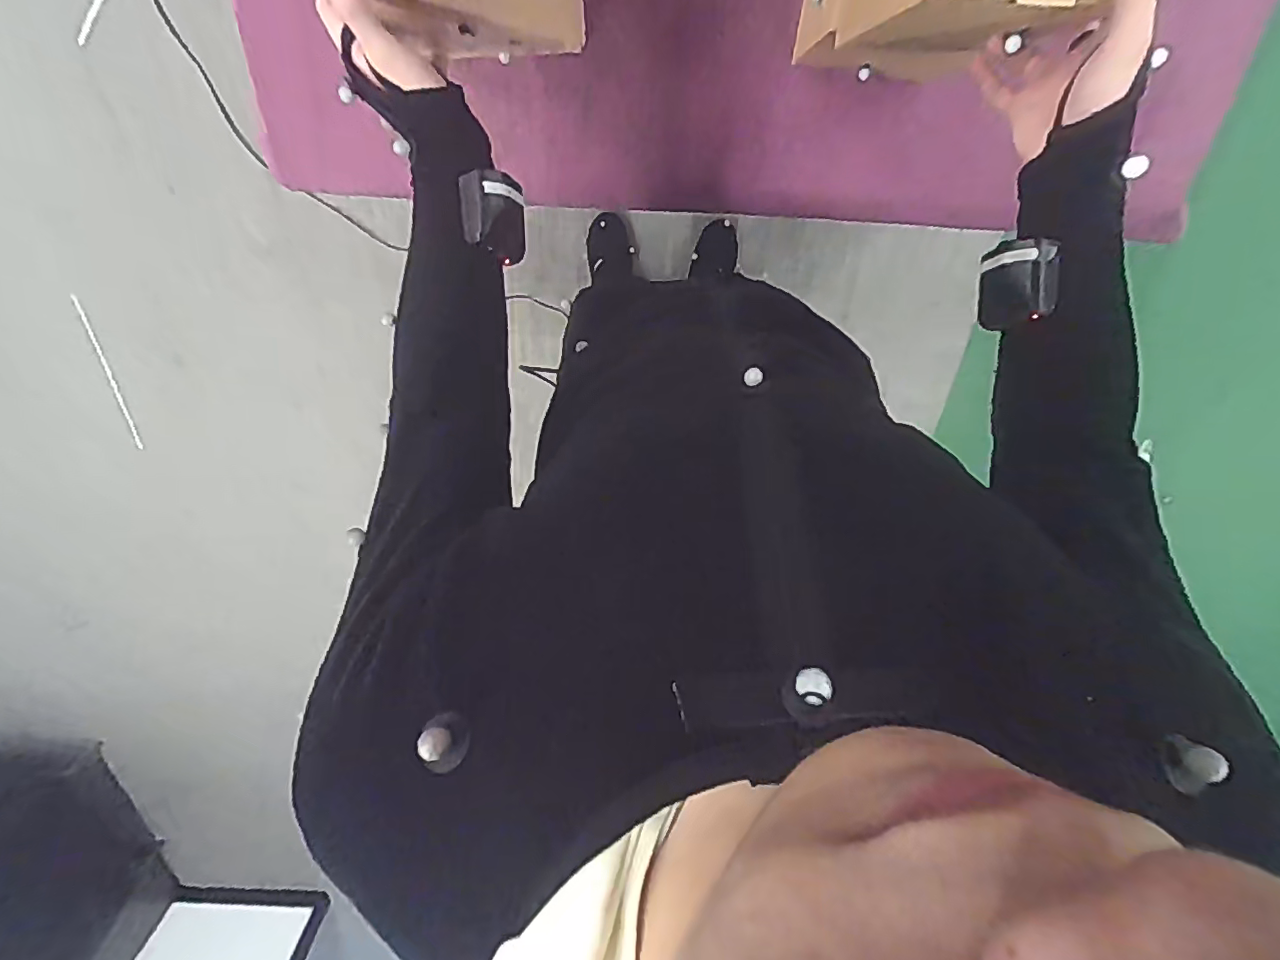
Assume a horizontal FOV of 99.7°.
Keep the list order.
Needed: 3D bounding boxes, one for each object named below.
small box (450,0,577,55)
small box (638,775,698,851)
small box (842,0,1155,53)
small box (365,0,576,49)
[{"bbox_3d":[-0.157,-0.552,0.538,0.168,0.176,0.179,-1,119,2],"label":"small box"},{"bbox_3d":[0.094,1.170,1.906,0.179,0.176,0.168,9,119,-5],"label":"small box"},{"bbox_3d":[0.269,-0.437,0.394,0.168,0.176,0.179,-2,118,-7],"label":"small box"},{"bbox_3d":[-0.141,-0.449,0.396,0.168,0.176,0.179,-2,116,1],"label":"small box"}]
